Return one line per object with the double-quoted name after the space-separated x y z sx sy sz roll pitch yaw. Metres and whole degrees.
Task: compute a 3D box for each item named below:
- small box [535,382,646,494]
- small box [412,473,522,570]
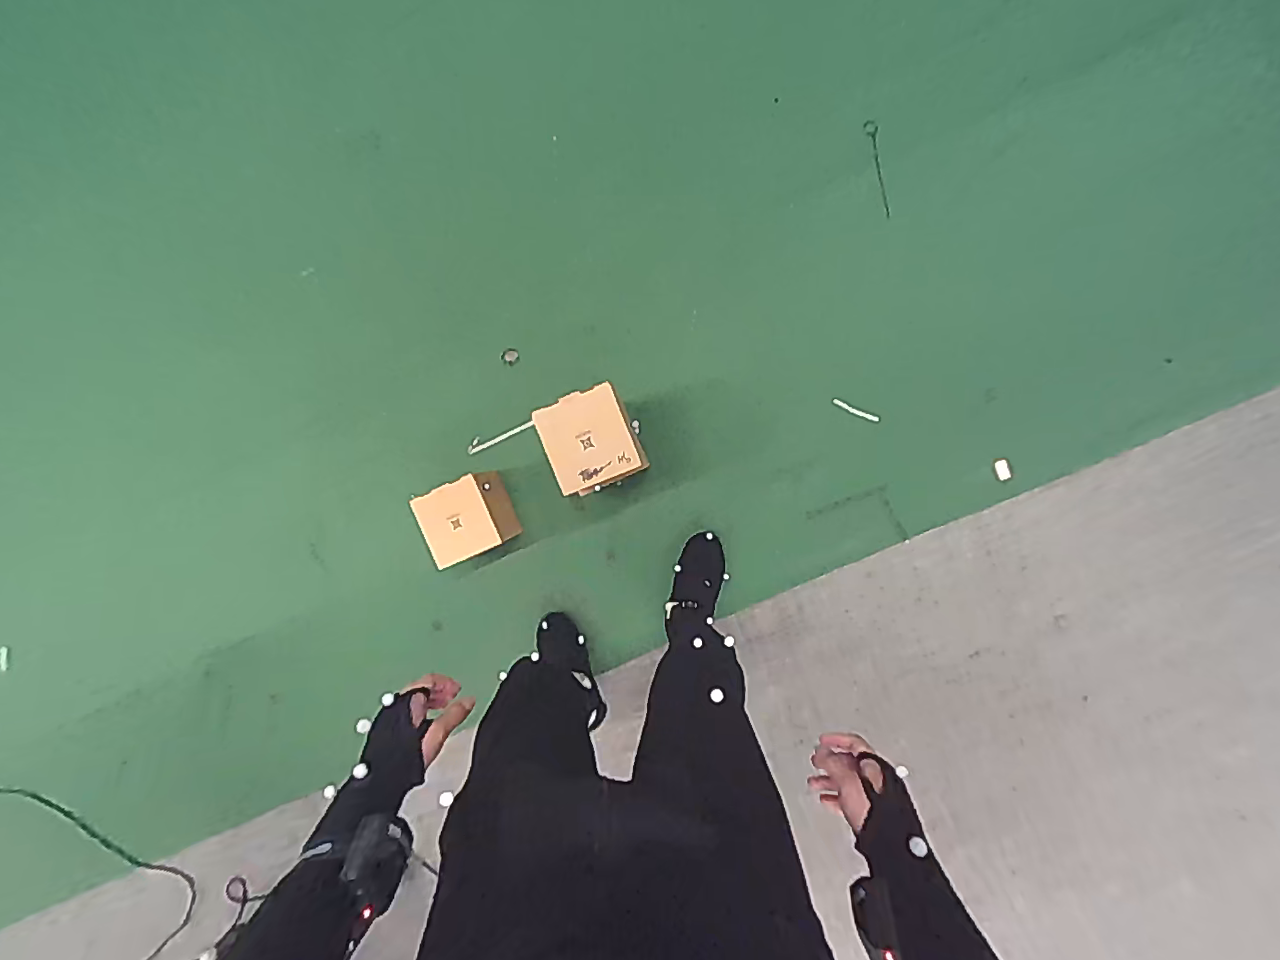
-0.094 -0.081 1.109 0.168 0.176 0.179 -21 91 5 "small box"
-0.408 0.092 1.308 0.168 0.176 0.179 -24 90 6 "small box"
